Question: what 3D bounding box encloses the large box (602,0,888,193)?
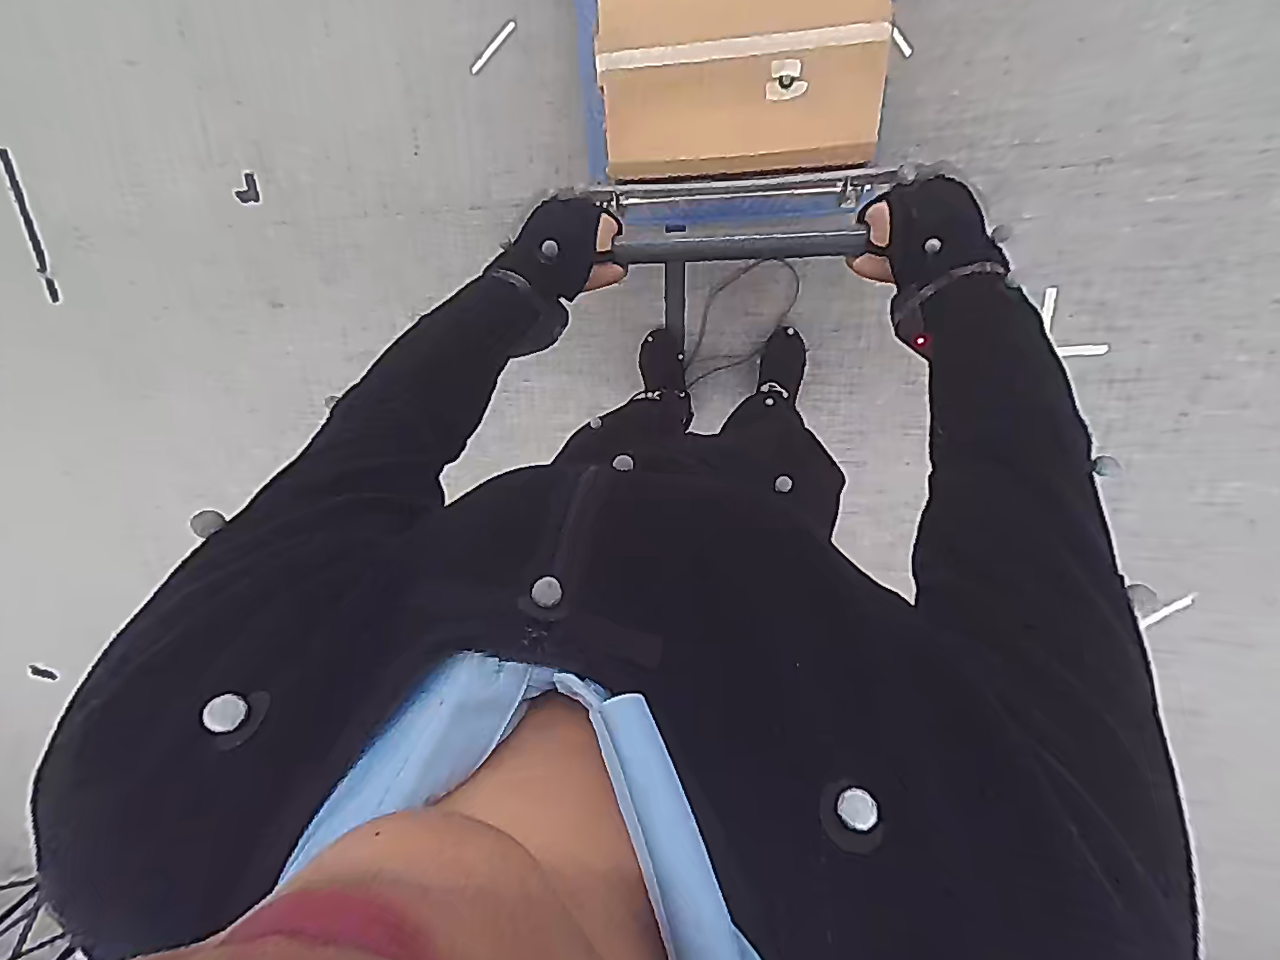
[{"bbox_3d":[0.164,-0.686,0.920,0.408,0.320,0.320,0,116,8],"label":"large box"}]
